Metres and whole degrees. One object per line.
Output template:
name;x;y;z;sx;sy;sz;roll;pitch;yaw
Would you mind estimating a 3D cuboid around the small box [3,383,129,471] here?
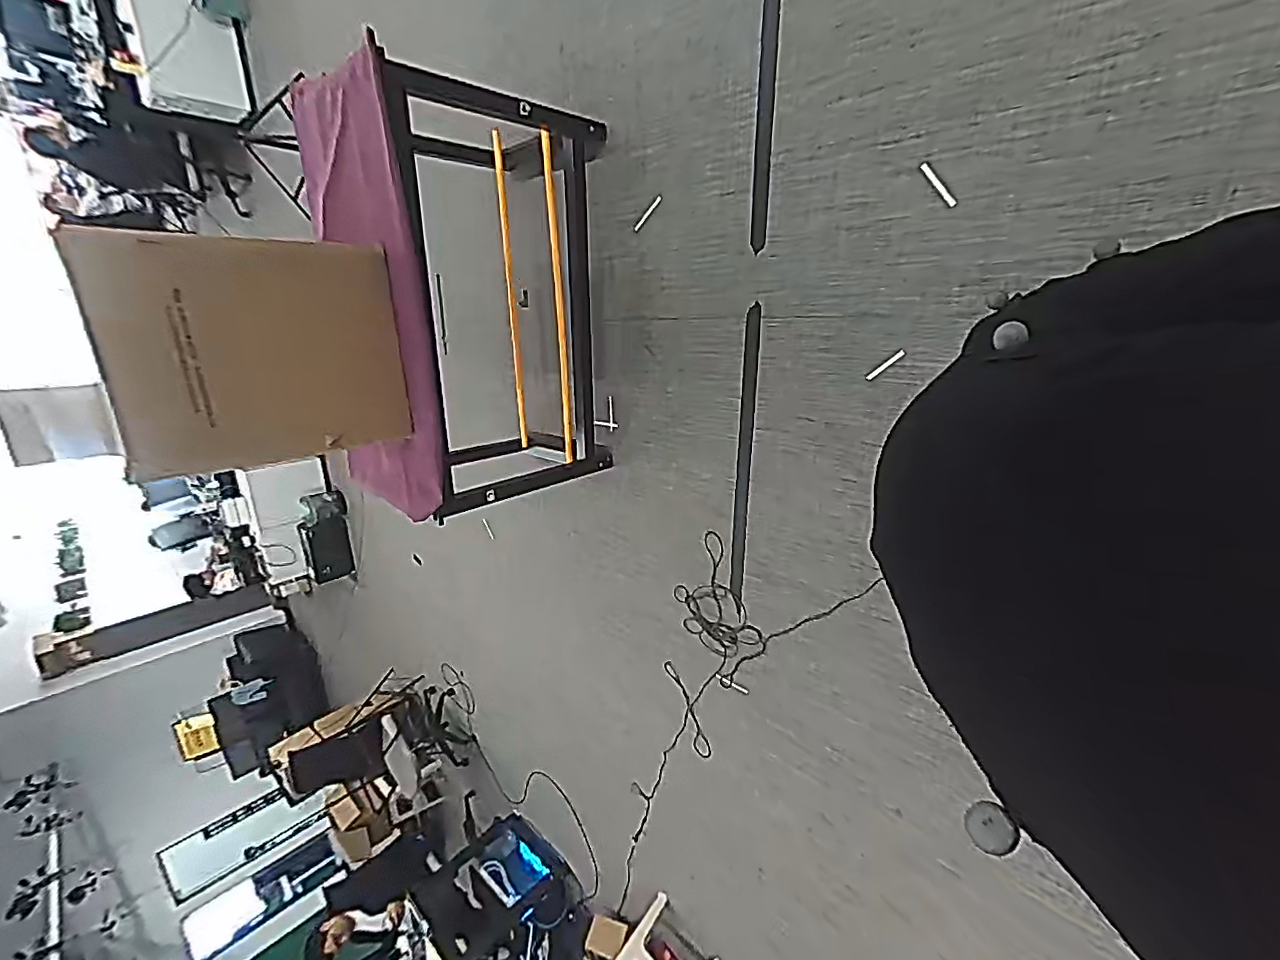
small box;-1.344;-0.133;1.273;0.168;0.176;0.179;13;111;43
